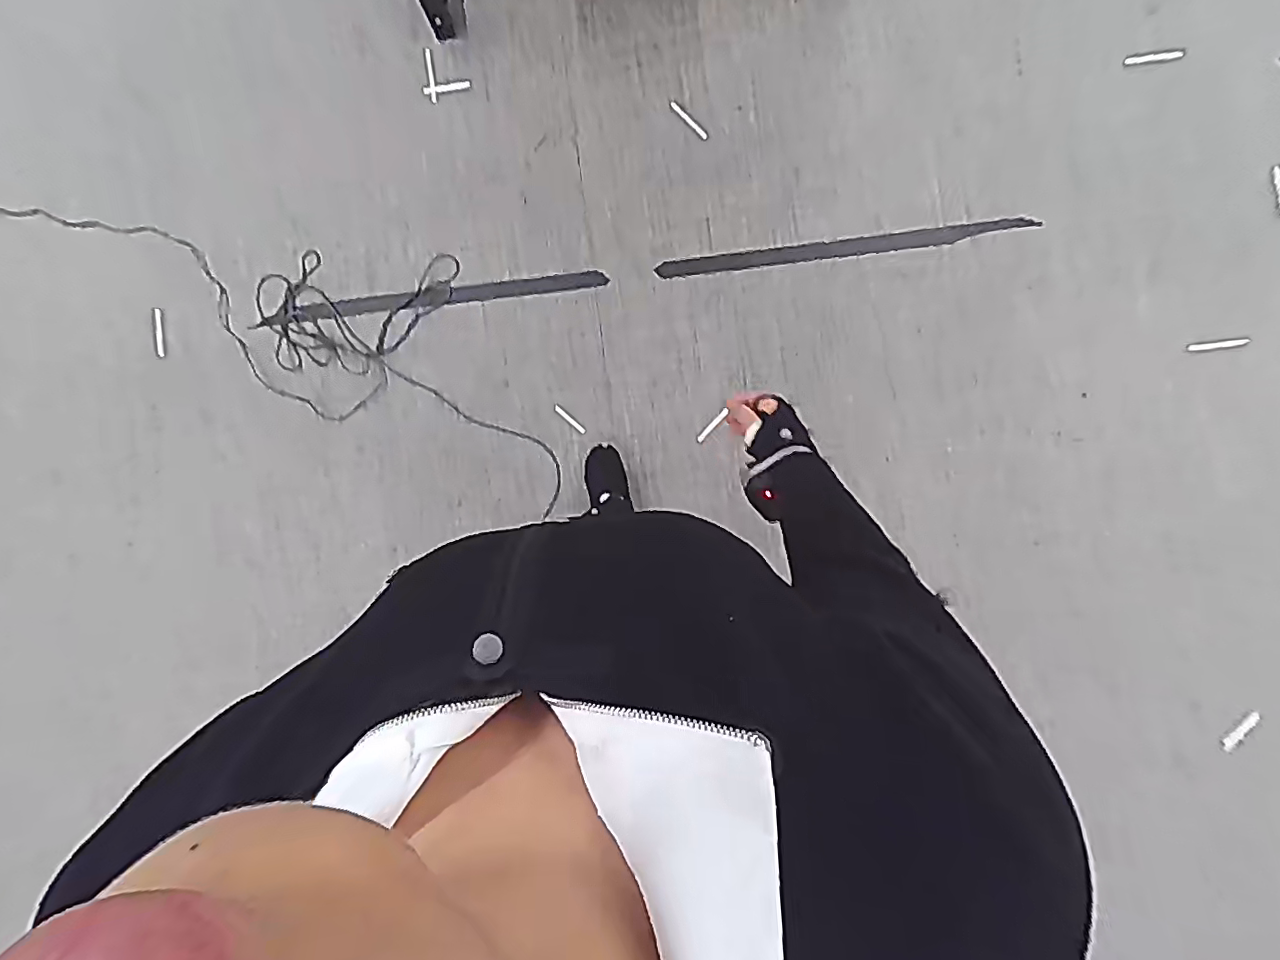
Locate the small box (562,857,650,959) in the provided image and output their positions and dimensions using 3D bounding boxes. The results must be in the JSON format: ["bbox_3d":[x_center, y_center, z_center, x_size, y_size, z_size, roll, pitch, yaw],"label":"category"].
[{"bbox_3d":[-0.068,0.960,1.201,0.168,0.176,0.179,-10,88,1],"label":"small box"}]
